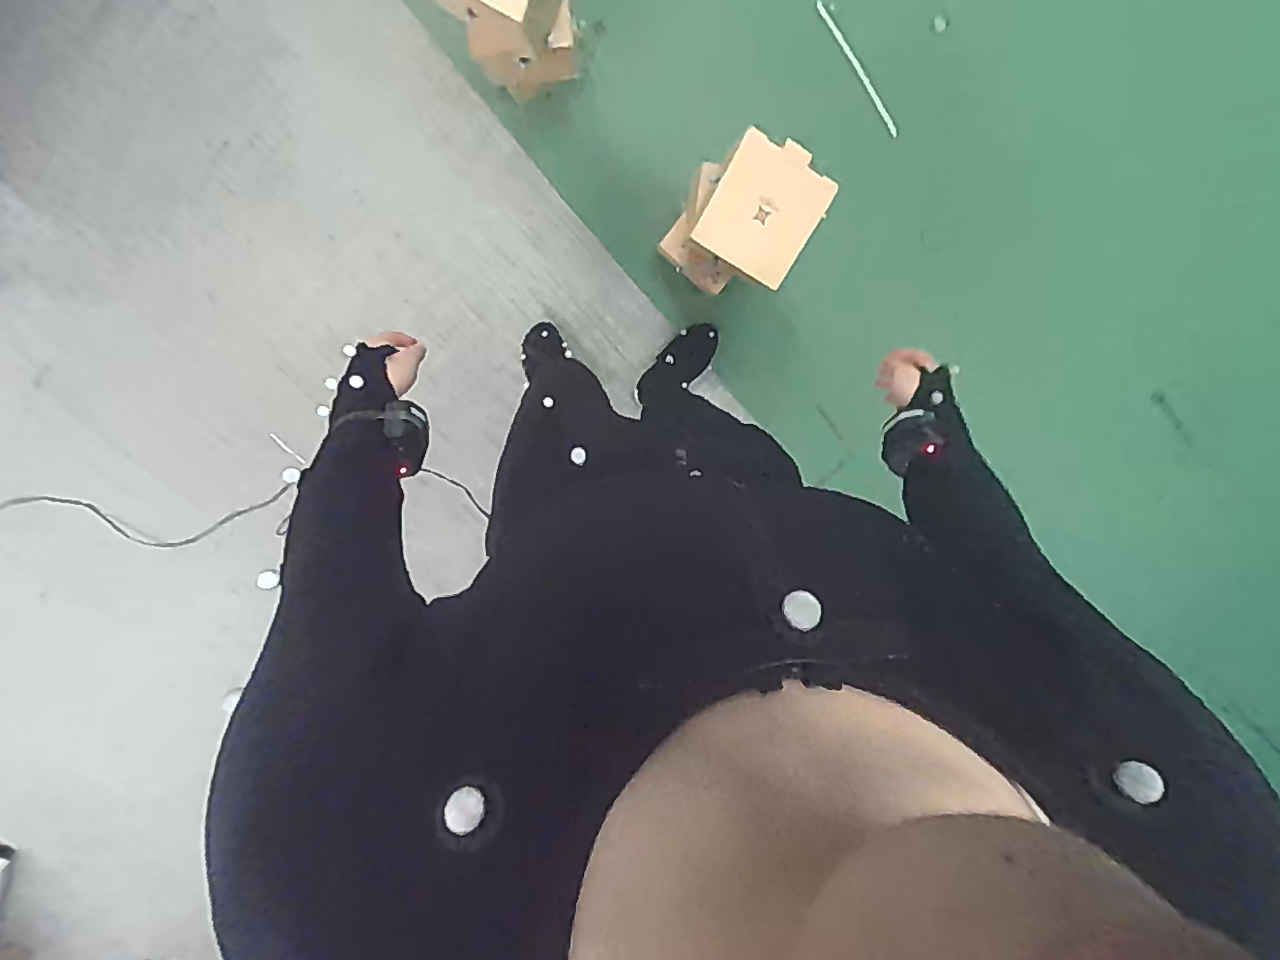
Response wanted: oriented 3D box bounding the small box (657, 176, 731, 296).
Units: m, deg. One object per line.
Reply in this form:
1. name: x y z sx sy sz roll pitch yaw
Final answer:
1. small box: 0.151 -0.539 1.215 0.168 0.176 0.179 37 105 -15

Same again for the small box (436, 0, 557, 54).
1. small box: -0.207 -0.755 0.773 0.179 0.176 0.168 24 110 -9

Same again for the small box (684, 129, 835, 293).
1. small box: 0.185 -0.436 0.904 0.168 0.176 0.179 27 108 -11

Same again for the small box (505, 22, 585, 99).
1. small box: -0.222 -0.896 1.068 0.179 0.176 0.168 -24 111 8

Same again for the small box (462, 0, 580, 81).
1. small box: -0.204 -0.809 0.928 0.179 0.176 0.168 -5 113 0
